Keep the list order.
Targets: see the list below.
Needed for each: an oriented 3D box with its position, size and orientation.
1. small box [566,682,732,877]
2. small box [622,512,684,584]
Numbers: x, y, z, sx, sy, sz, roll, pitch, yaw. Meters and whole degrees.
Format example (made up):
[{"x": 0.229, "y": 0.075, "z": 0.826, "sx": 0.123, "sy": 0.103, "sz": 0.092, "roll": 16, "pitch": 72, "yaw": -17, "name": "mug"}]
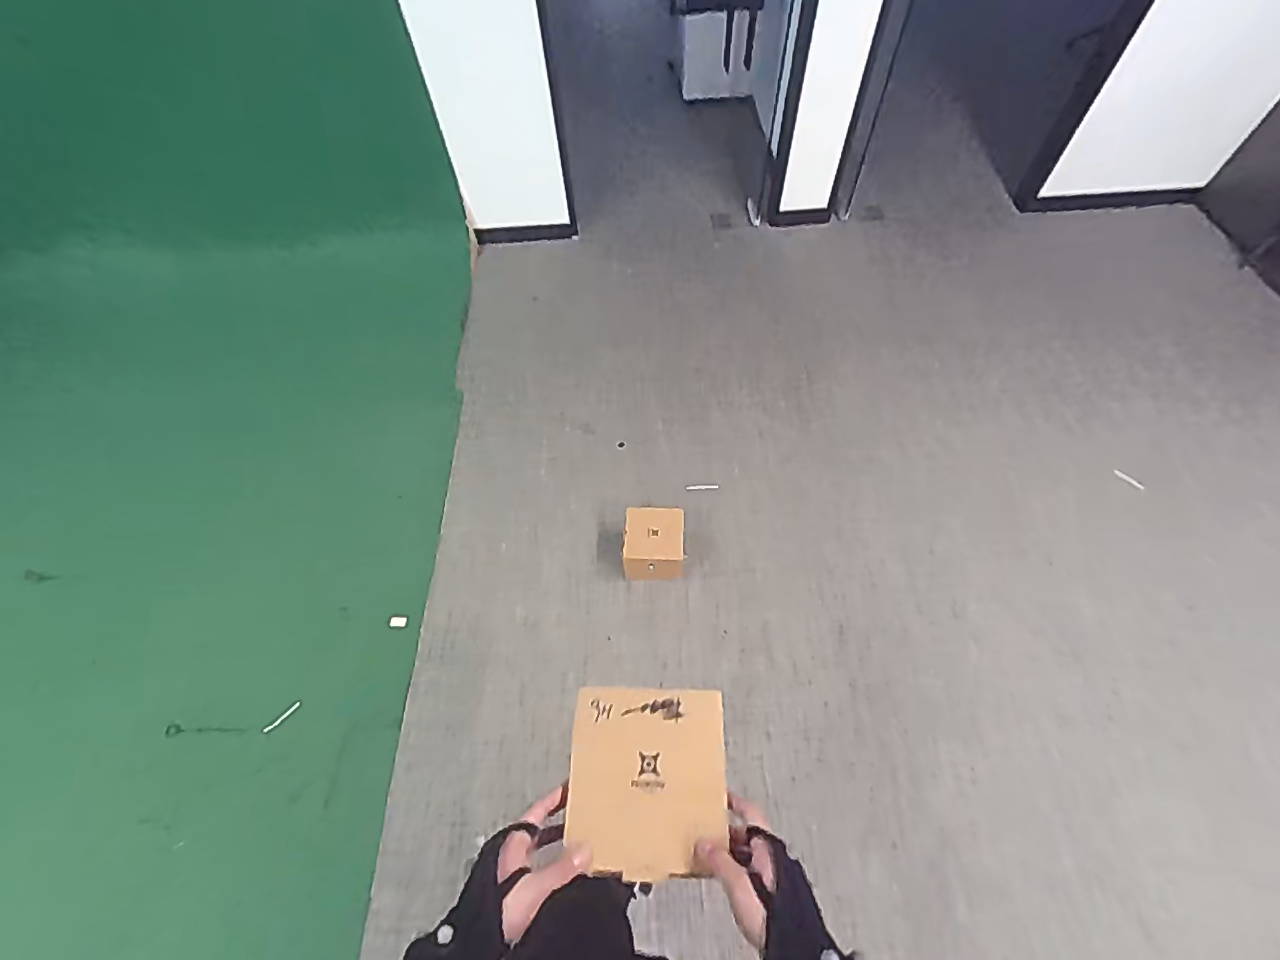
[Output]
[{"x": 0.015, "y": 0.351, "z": 0.635, "sx": 0.168, "sy": 0.176, "sz": 0.179, "roll": 1, "pitch": 55, "yaw": 2, "name": "small box"}, {"x": 0.043, "y": 0.210, "z": 1.639, "sx": 0.179, "sy": 0.176, "sz": 0.168, "roll": 2, "pitch": 59, "yaw": 3, "name": "small box"}]
